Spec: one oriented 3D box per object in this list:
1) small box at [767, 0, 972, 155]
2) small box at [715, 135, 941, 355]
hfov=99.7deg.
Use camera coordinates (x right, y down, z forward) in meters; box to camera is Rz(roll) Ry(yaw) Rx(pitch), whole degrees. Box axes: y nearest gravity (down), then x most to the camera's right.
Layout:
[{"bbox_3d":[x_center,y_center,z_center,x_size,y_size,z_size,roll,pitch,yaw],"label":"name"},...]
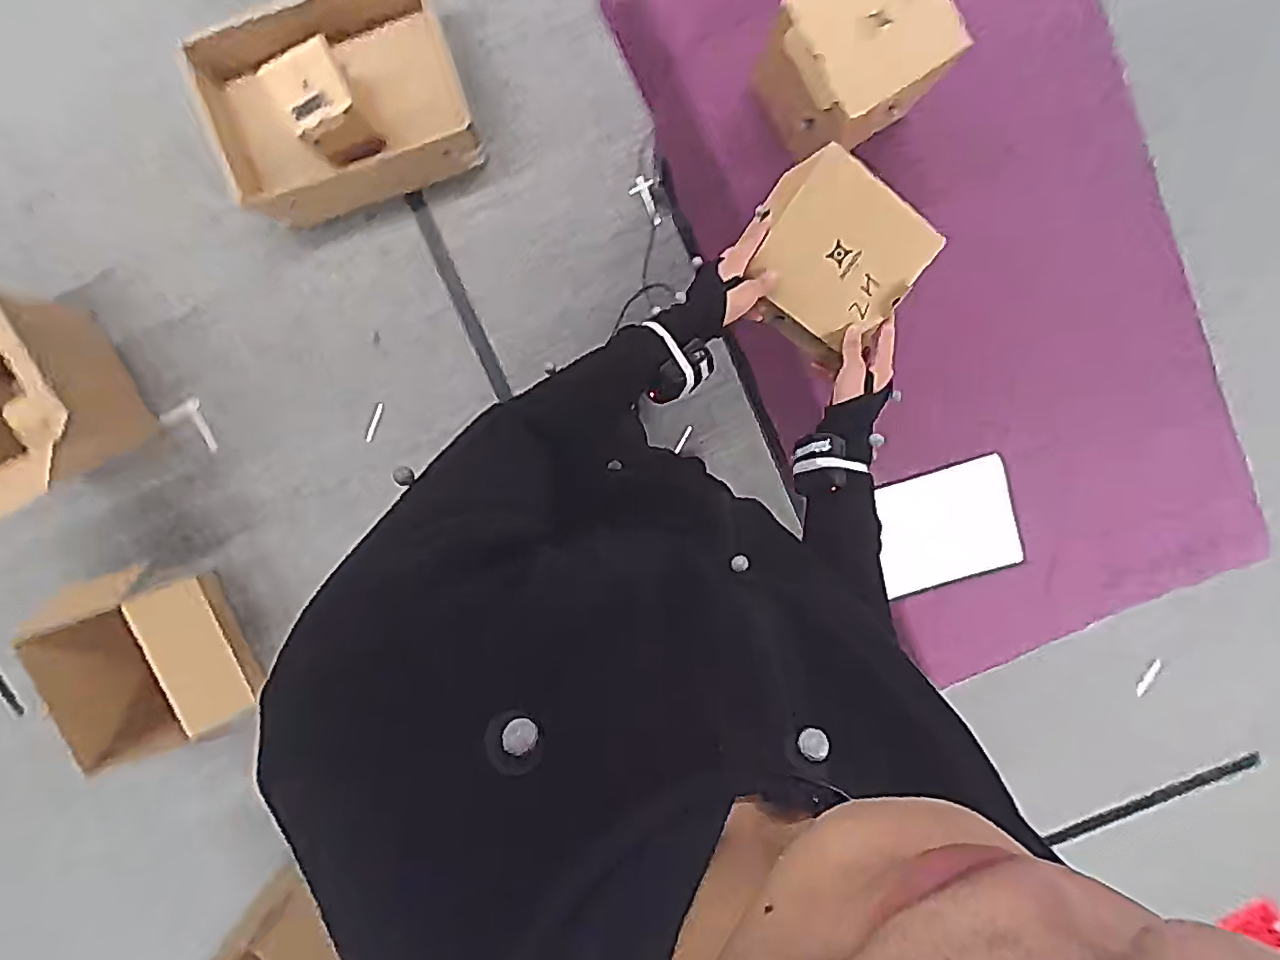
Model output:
[{"bbox_3d":[0.288,-0.566,0.728,0.179,0.176,0.168,-32,98,3],"label":"small box"},{"bbox_3d":[0.215,-0.279,0.674,0.179,0.176,0.168,31,106,-13],"label":"small box"}]
